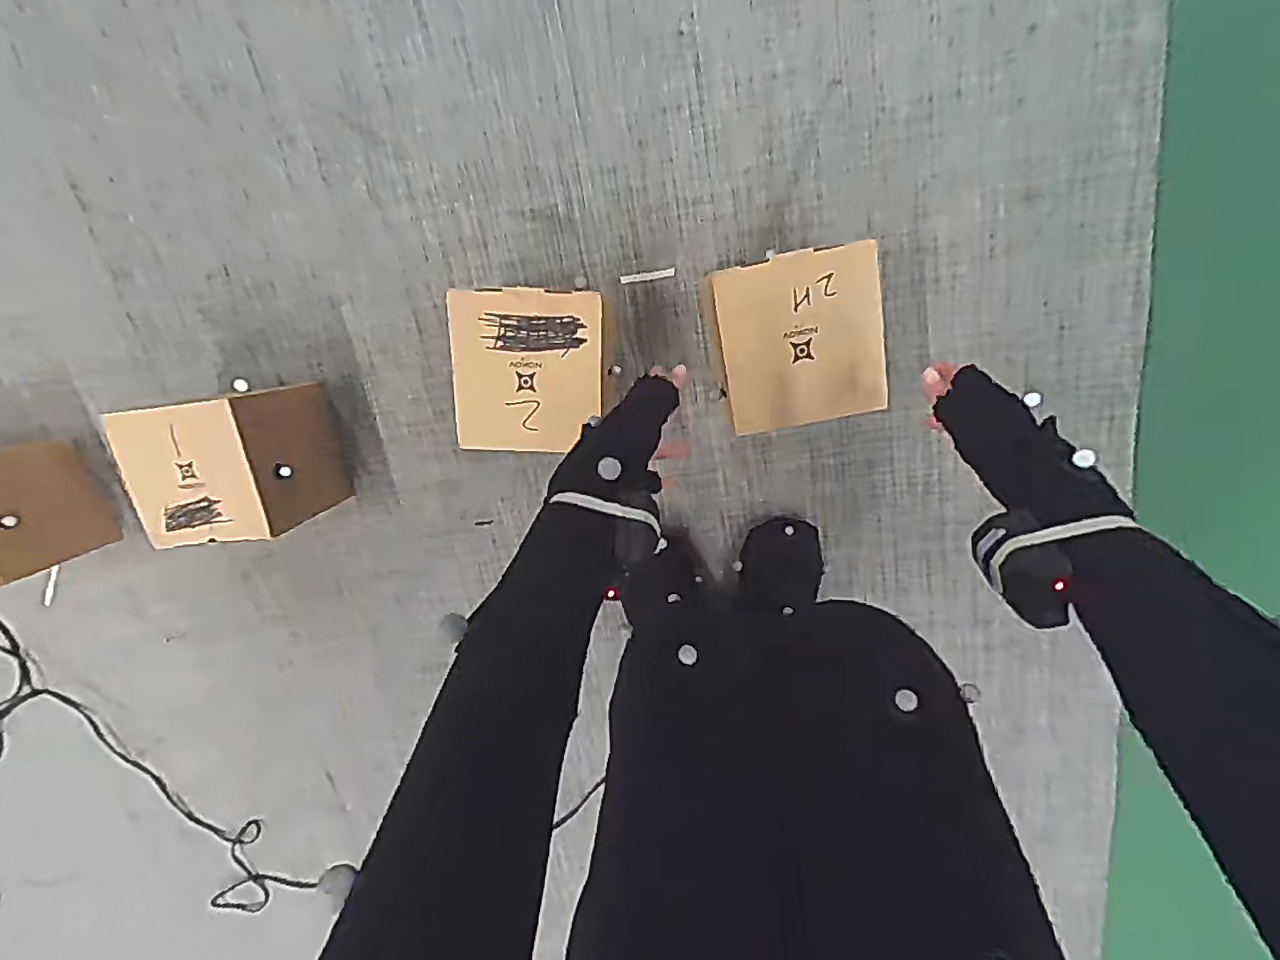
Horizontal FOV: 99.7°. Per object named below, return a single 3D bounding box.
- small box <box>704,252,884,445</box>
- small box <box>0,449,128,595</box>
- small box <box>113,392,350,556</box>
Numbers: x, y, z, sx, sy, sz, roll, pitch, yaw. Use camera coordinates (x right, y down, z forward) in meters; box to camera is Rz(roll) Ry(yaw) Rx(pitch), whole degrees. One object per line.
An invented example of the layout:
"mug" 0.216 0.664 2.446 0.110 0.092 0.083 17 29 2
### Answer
"small box" 0.173 -0.155 0.642 0.168 0.176 0.179 -10 105 6
"small box" -0.919 0.060 0.782 0.168 0.176 0.179 -10 106 8
"small box" -0.527 -0.015 0.729 0.168 0.176 0.179 -6 105 6
